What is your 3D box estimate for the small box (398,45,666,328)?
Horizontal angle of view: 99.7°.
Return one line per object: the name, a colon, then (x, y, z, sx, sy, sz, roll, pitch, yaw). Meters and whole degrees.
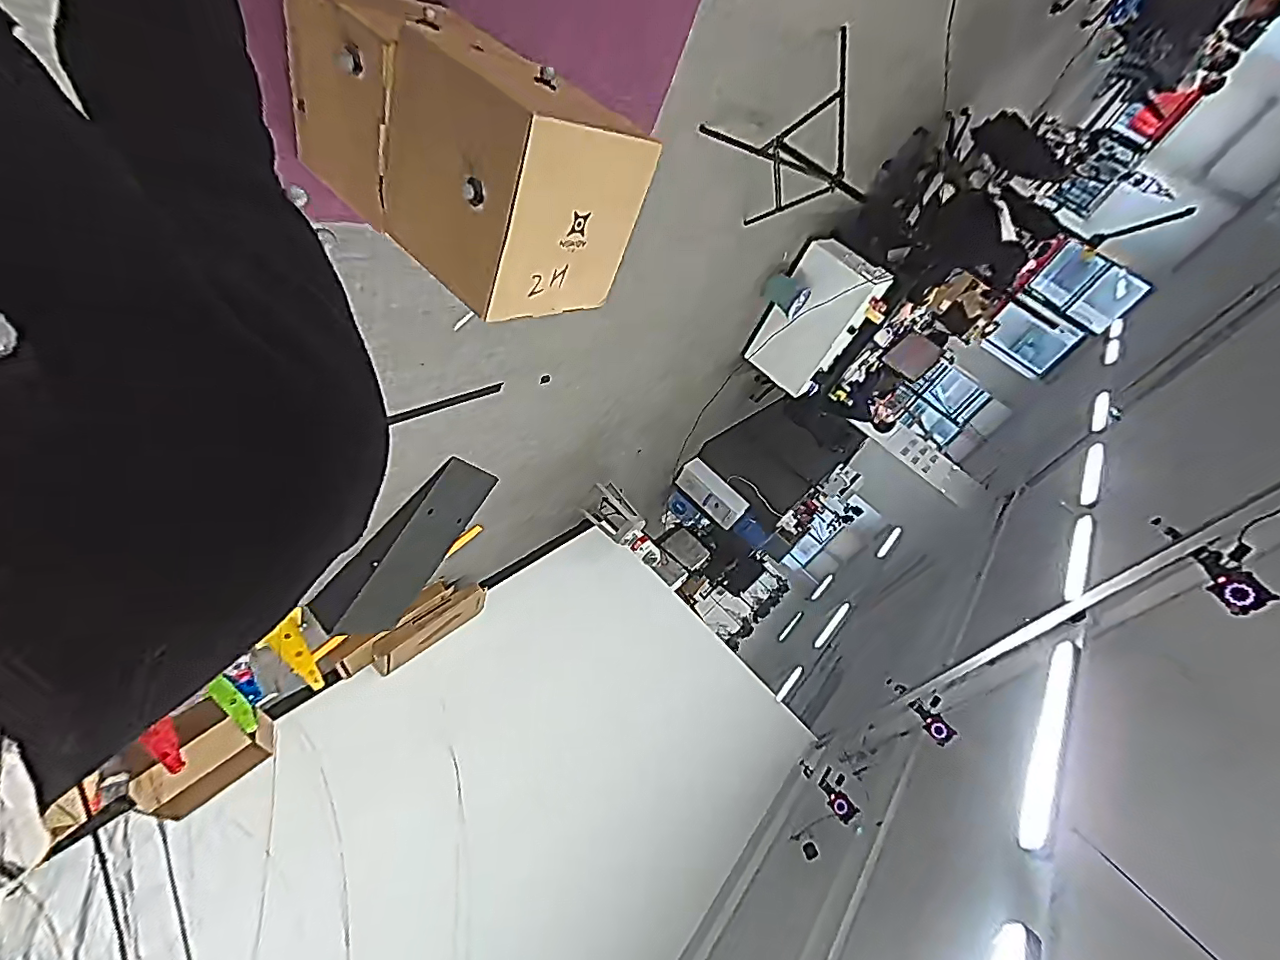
small box: (-0.111, -0.277, 0.527, 0.168, 0.176, 0.179, -29, 155, -47)
